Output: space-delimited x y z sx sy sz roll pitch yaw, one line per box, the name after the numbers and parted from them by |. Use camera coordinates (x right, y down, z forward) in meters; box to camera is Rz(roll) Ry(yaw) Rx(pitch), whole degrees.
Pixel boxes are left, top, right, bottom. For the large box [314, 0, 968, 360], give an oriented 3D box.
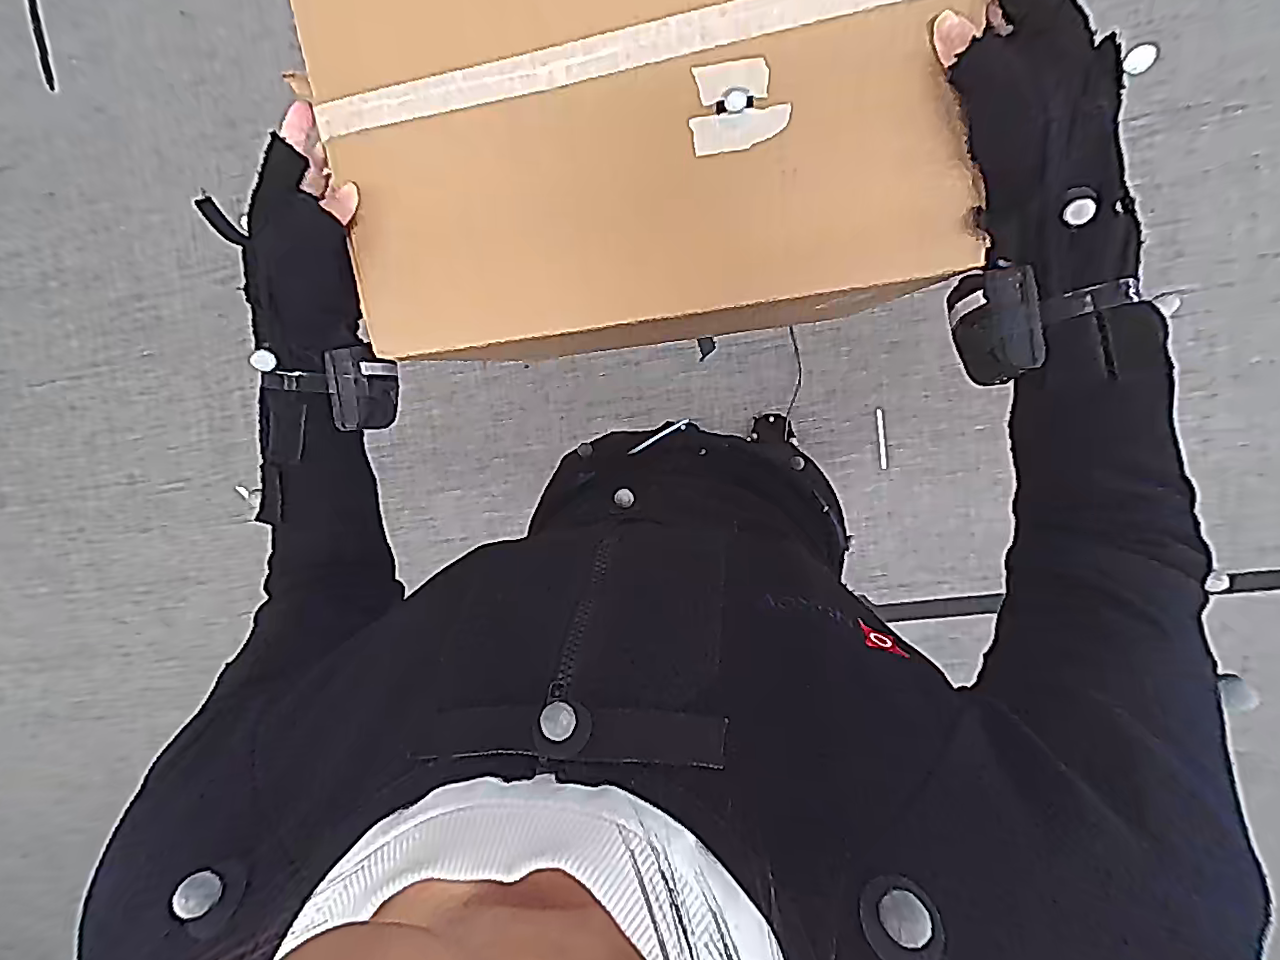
0.007 -0.295 0.486 0.408 0.320 0.320 -7 102 8 | large box
